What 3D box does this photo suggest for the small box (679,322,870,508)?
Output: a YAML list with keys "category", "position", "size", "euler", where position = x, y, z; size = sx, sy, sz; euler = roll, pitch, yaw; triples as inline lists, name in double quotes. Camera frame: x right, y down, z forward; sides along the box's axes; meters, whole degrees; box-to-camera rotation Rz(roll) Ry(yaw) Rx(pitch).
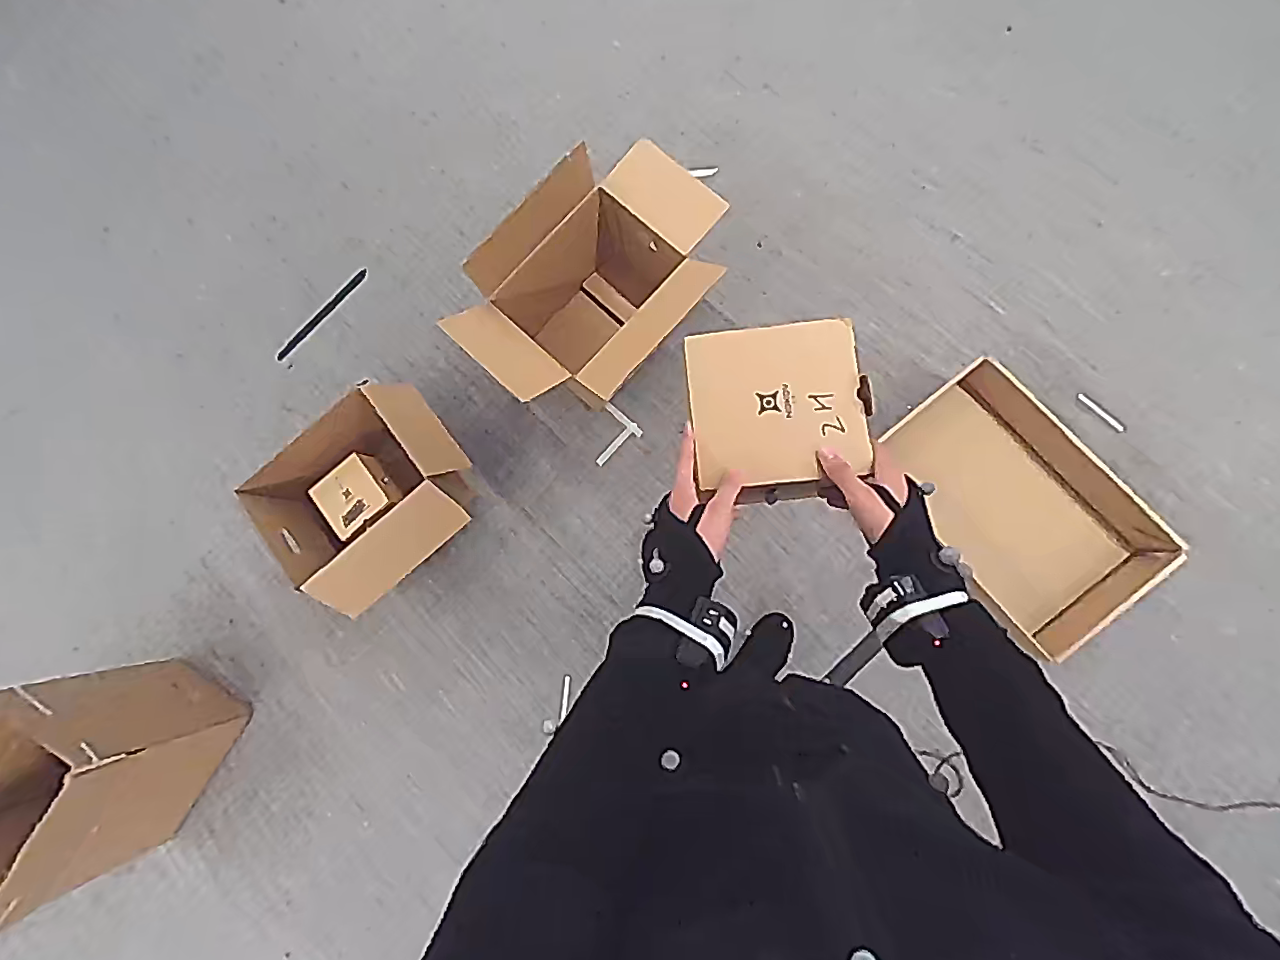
- category: "small box"
  position: [0.141, -0.062, 0.625]
  size: [0.179, 0.176, 0.168]
  euler: [-5, 80, 3]
